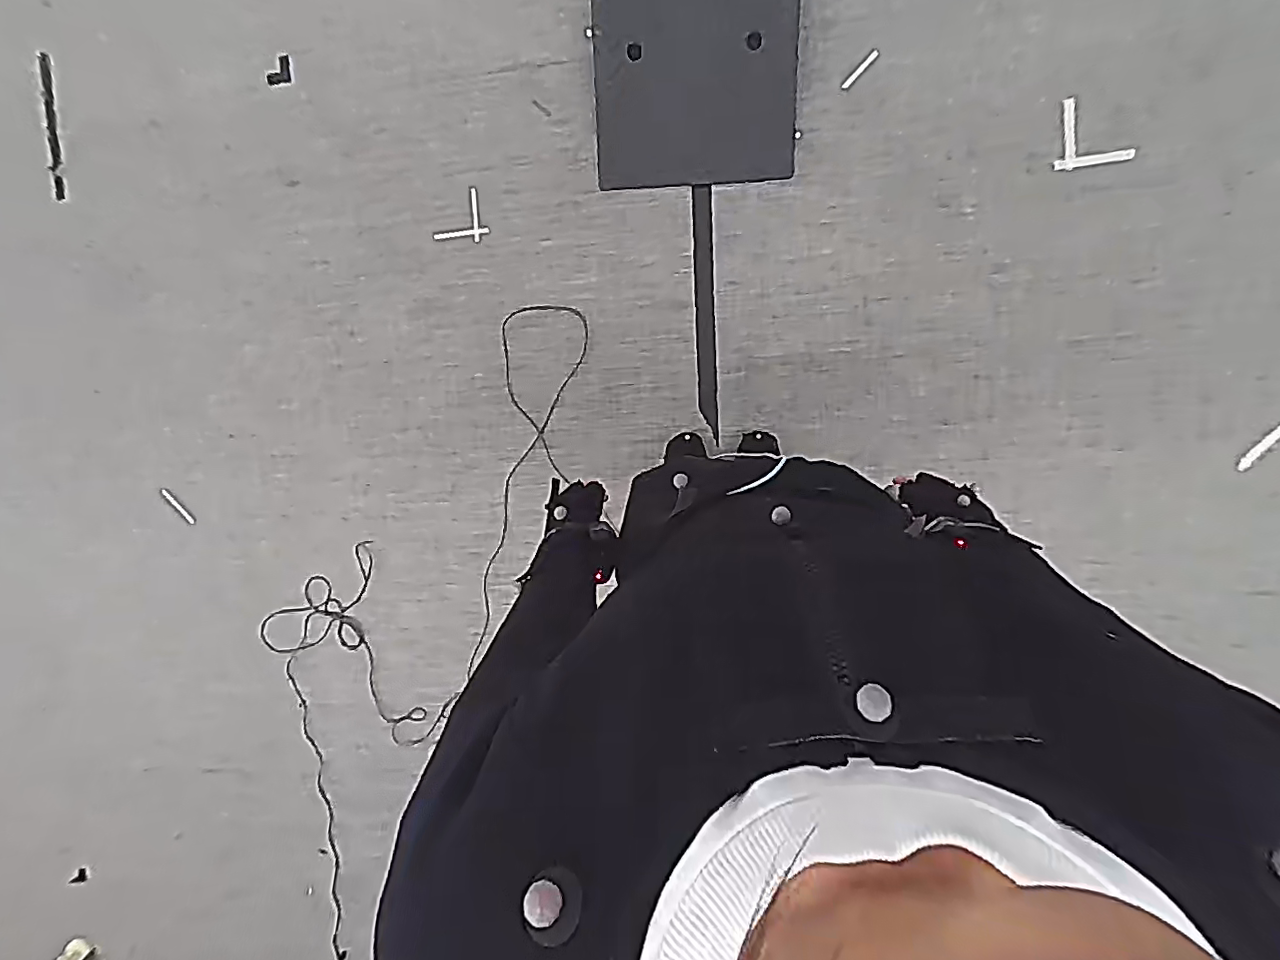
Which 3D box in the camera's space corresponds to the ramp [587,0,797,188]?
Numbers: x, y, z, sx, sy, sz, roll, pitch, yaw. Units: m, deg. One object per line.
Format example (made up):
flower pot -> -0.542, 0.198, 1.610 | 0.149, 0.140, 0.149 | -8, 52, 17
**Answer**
ramp -> 0.116, -1.234, 1.233 | 0.509, 0.206, 0.991 | -2, 96, 6
